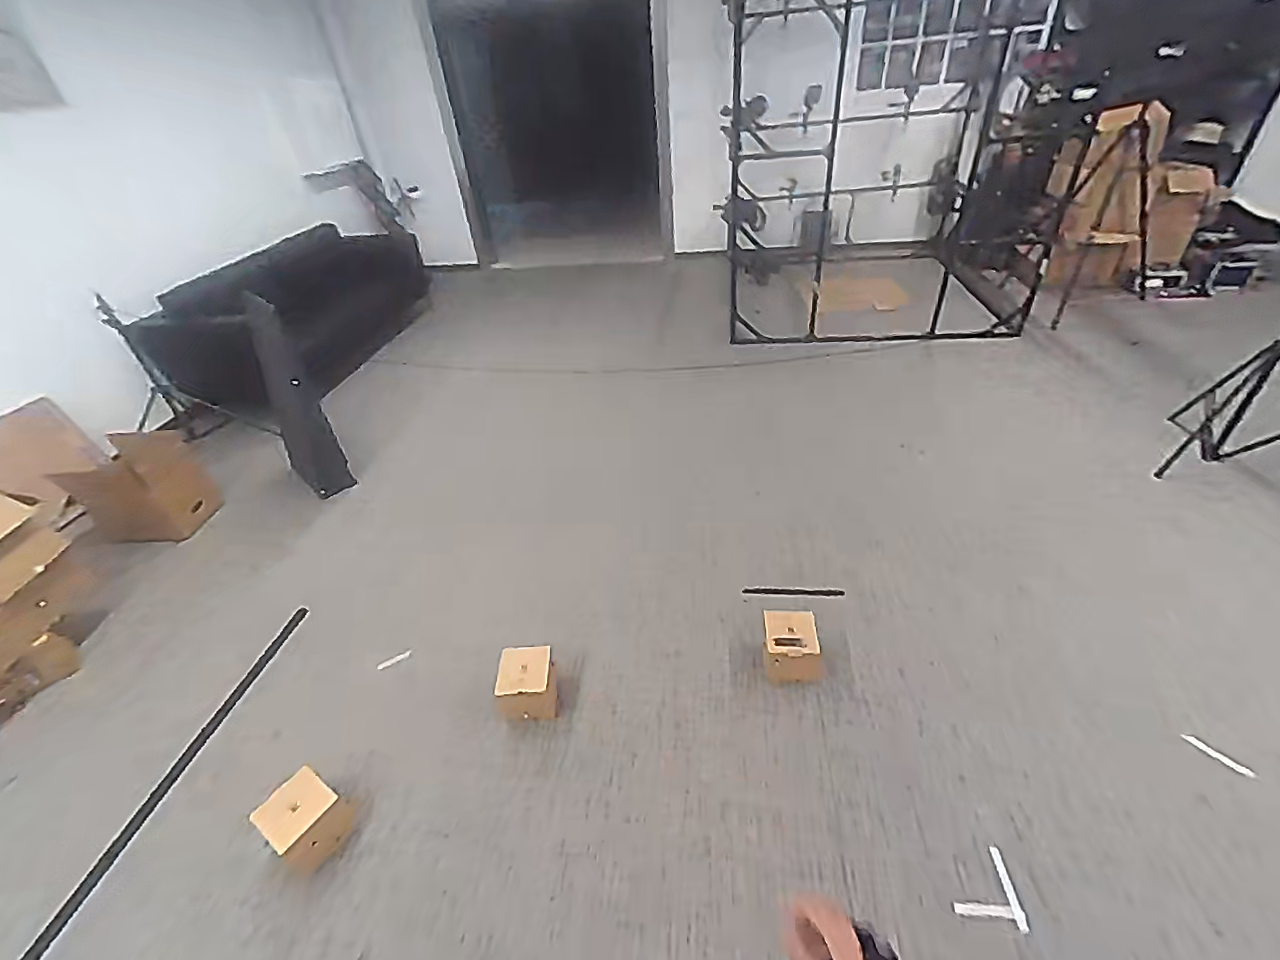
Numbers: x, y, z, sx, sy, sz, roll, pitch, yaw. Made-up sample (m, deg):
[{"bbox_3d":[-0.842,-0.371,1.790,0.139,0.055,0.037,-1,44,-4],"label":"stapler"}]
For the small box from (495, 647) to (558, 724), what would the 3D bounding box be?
[{"bbox_3d":[-0.371,0.683,1.799,0.168,0.176,0.179,-4,37,1],"label":"small box"}]

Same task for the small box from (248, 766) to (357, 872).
[{"bbox_3d":[-0.930,0.949,1.507,0.179,0.176,0.168,18,42,29],"label":"small box"}]
